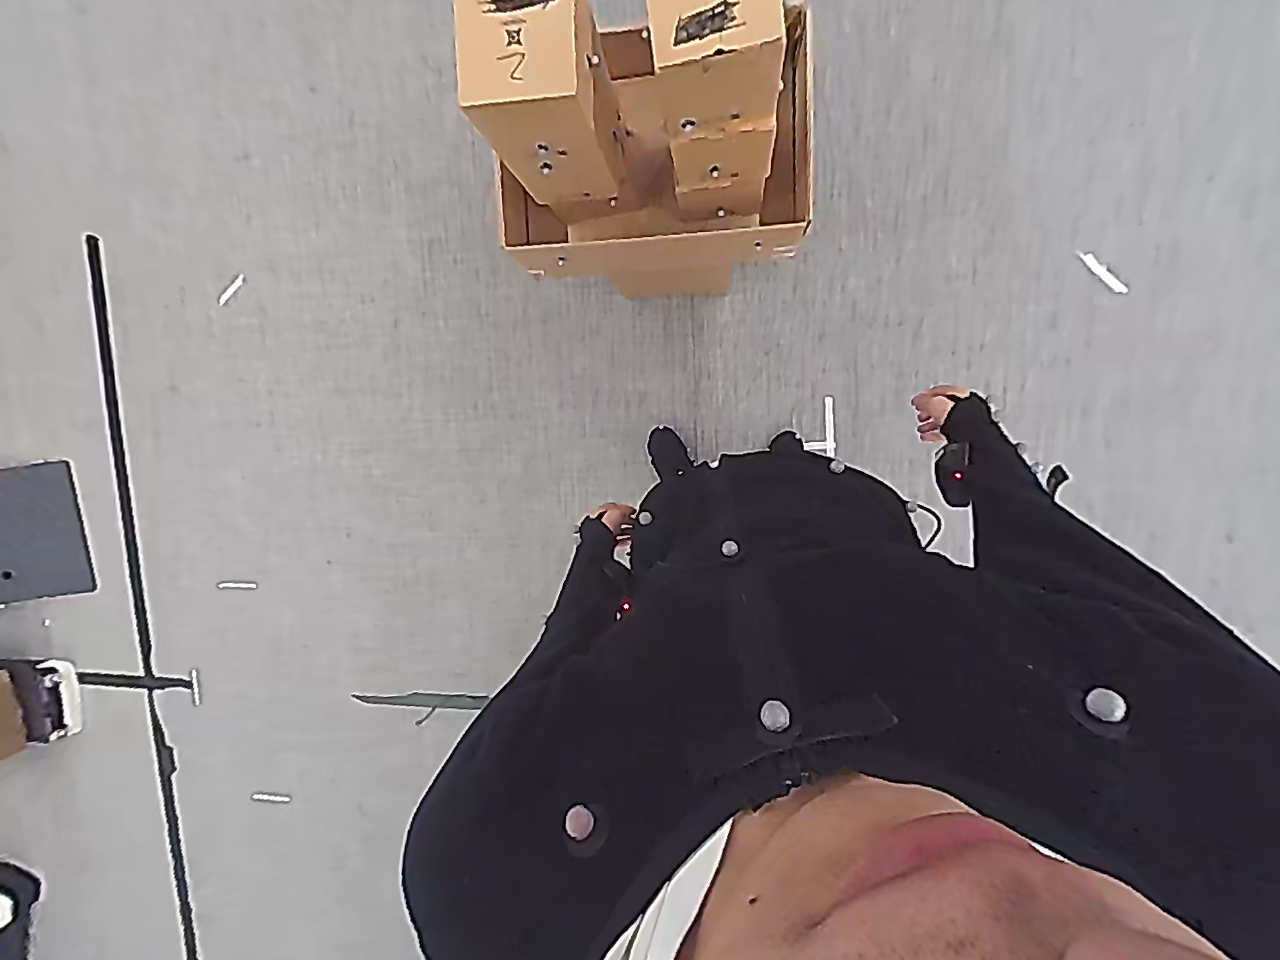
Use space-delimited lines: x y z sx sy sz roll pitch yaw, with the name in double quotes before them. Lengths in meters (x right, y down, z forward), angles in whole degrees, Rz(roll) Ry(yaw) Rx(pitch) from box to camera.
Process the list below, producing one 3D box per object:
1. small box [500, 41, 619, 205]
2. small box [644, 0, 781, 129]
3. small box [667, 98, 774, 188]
"small box" -0.134 -0.612 0.947 0.168 0.176 0.179 0 94 10
"small box" 0.097 -0.619 0.744 0.168 0.176 0.179 -7 94 9
"small box" 0.129 -0.624 0.906 0.168 0.176 0.179 -4 96 9
